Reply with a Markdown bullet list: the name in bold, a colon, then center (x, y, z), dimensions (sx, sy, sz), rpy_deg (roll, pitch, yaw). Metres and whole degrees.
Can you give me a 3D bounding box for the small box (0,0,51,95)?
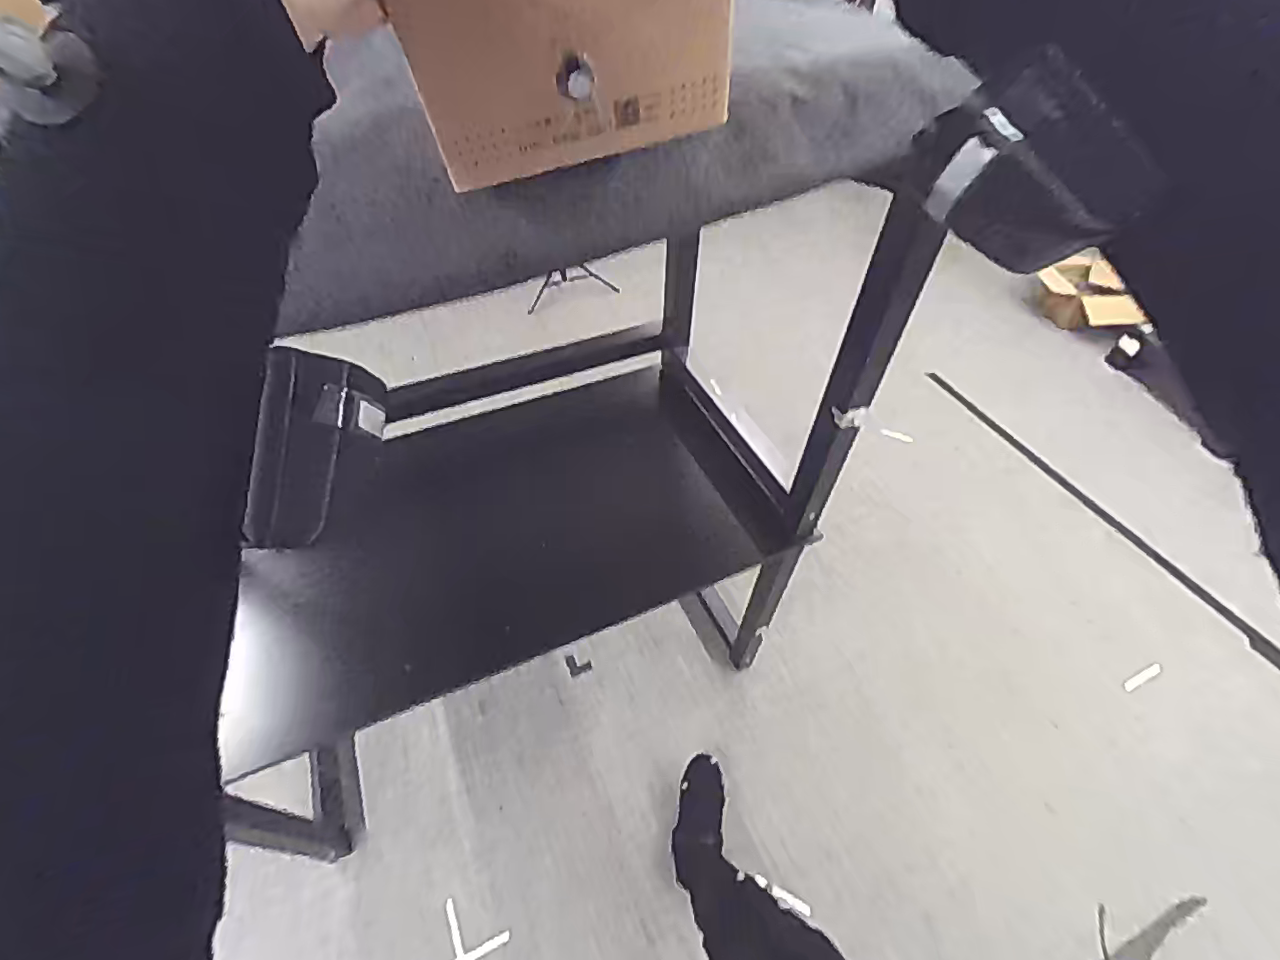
- **small box**: center (-0.619, -0.410, 0.411), dimensions (0.168, 0.176, 0.179), rpy_deg (-21, 55, -17)
